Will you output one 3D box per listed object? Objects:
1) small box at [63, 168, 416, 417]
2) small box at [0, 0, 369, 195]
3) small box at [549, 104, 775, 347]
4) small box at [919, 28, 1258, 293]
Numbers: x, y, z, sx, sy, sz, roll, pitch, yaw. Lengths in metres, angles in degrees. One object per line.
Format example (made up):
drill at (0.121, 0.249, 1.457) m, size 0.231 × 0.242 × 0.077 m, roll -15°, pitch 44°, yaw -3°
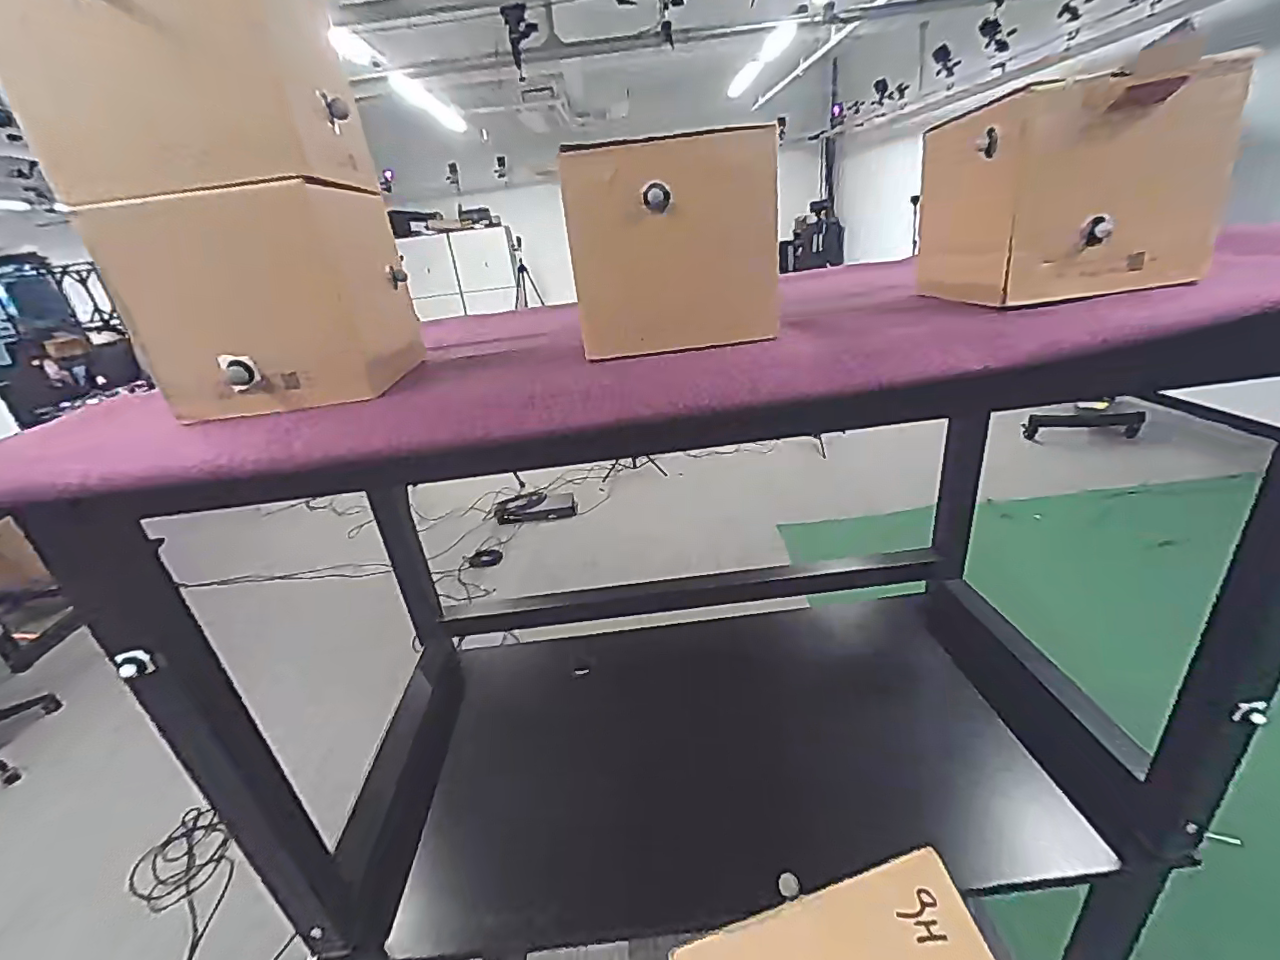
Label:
small box at (-0.321, -0.167, 0.487) m, size 0.168 × 0.176 × 0.179 m, roll -10°, pitch 26°, yaw -2°
small box at (-0.347, -0.315, 0.419) m, size 0.179 × 0.176 × 0.168 m, roll -10°, pitch 25°, yaw -3°
small box at (0.023, -0.229, 0.516) m, size 0.179 × 0.176 × 0.168 m, roll -7°, pitch 23°, yaw 1°
small box at (0.380, -0.274, 0.504) m, size 0.168 × 0.176 × 0.179 m, roll -8°, pitch 23°, yaw 4°
